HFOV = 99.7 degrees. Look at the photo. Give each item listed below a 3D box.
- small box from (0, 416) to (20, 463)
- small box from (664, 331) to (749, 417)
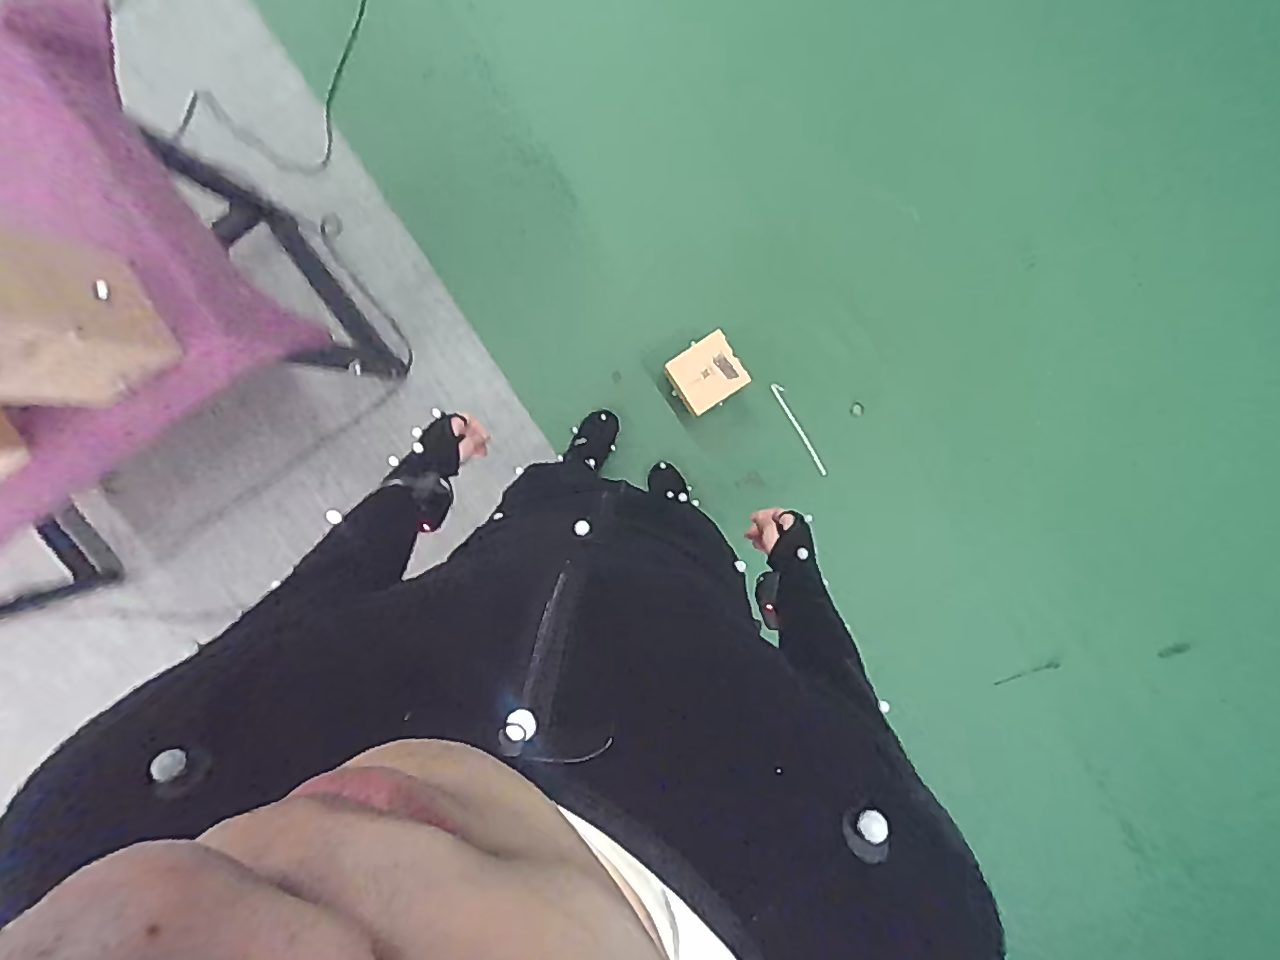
[{"bbox_3d":[-1.135,-0.076,0.821,0.168,0.176,0.179,-30,94,4],"label":"small box"},{"bbox_3d":[0.178,-0.292,1.518,0.179,0.176,0.168,-32,94,4],"label":"small box"}]
